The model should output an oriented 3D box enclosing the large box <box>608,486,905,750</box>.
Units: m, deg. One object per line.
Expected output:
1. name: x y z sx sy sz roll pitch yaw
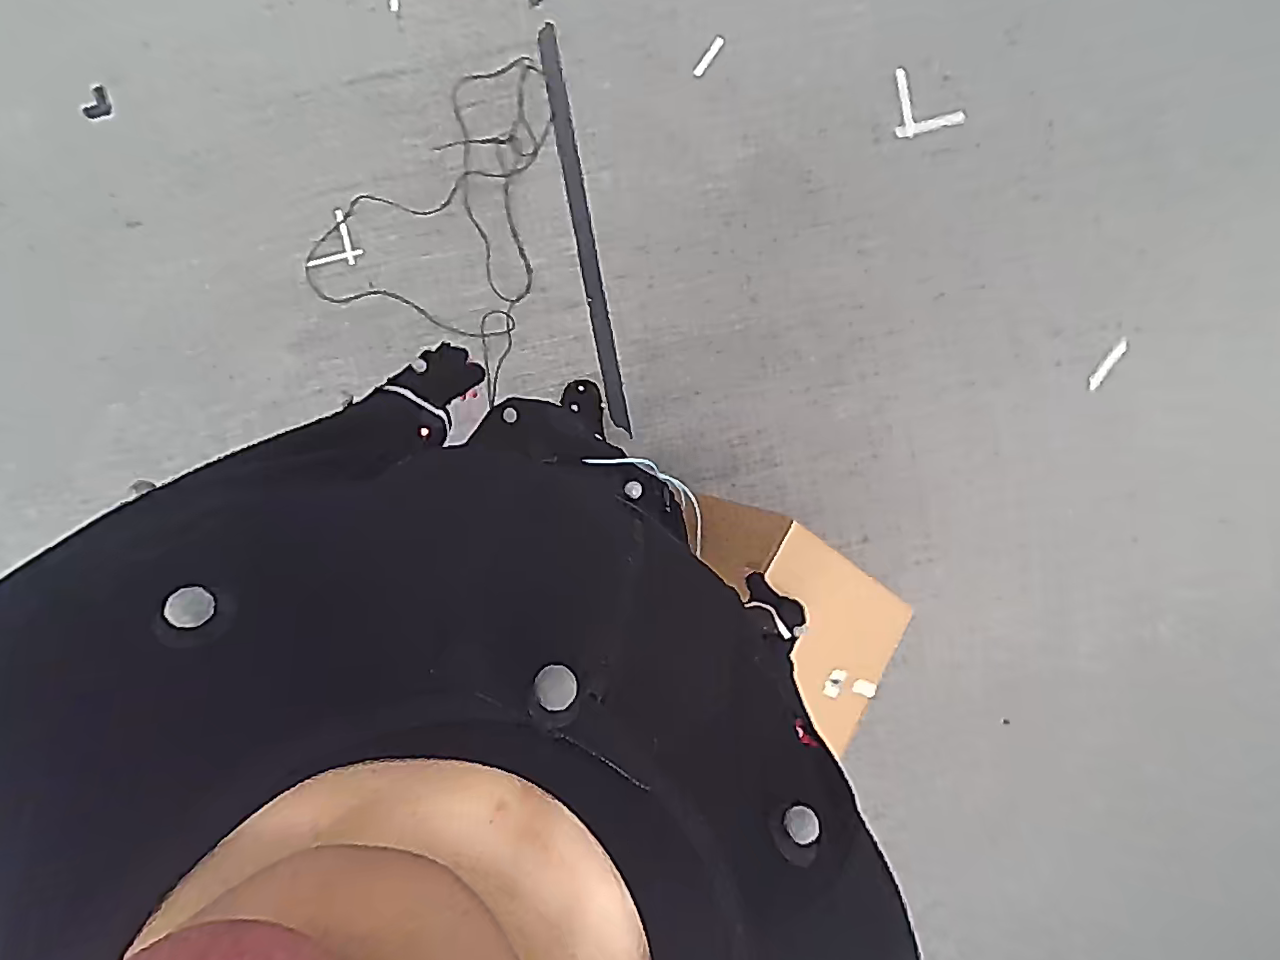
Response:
1. large box: 0.195 0.231 1.026 0.320 0.408 0.320 32 83 -21
